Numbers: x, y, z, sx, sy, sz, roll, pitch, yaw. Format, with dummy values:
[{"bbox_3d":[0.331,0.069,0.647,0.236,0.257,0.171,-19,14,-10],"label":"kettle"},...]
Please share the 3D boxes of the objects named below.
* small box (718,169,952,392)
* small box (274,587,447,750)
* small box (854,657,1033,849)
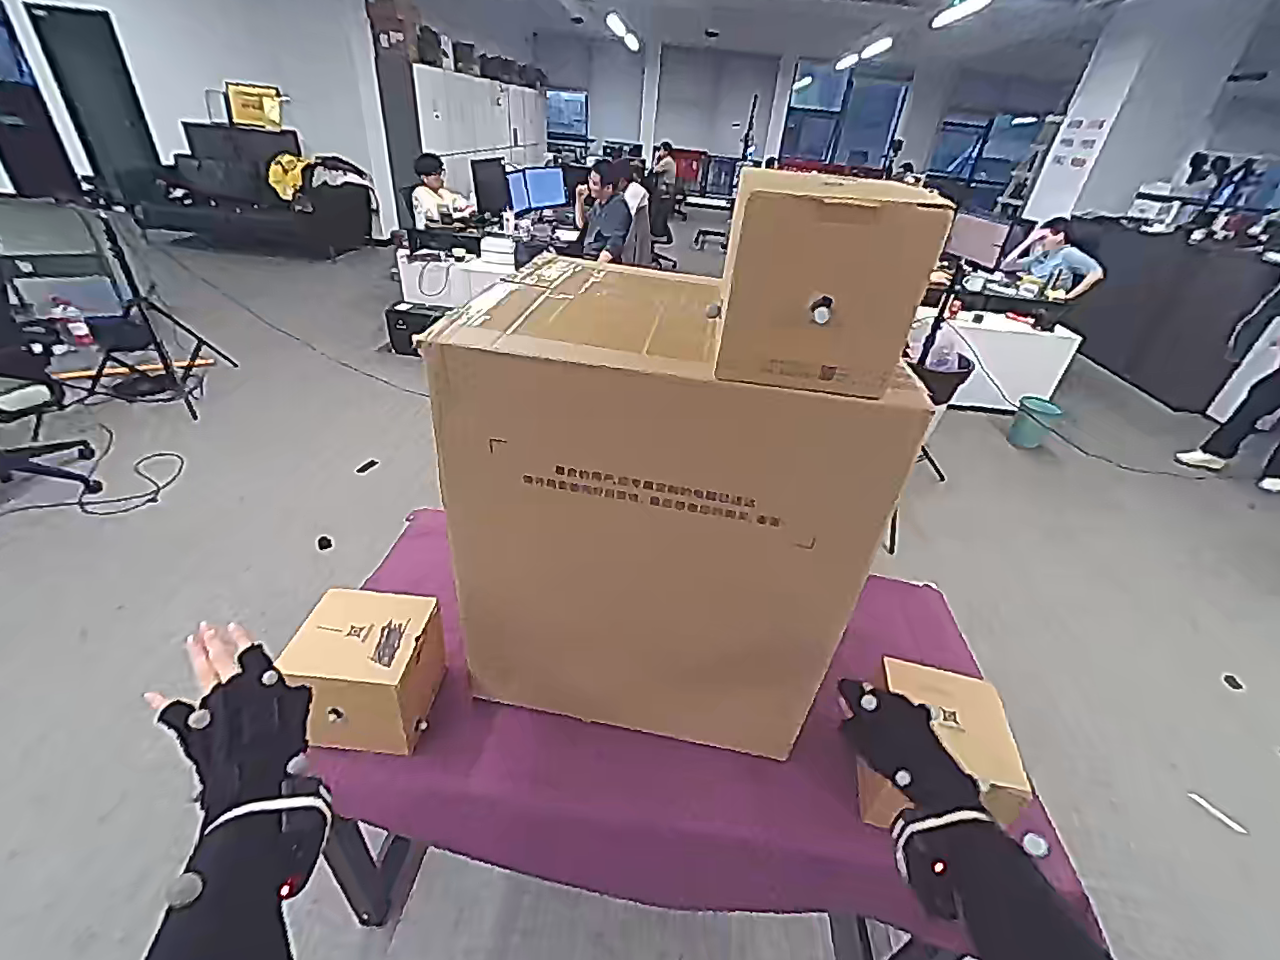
[{"bbox_3d":[0.173,-0.203,0.545,0.168,0.176,0.179,7,35,3],"label":"small box"},{"bbox_3d":[-0.411,0.291,0.834,0.179,0.176,0.168,6,32,-2],"label":"small box"},{"bbox_3d":[0.431,0.403,0.803,0.168,0.176,0.179,12,32,9],"label":"small box"}]
